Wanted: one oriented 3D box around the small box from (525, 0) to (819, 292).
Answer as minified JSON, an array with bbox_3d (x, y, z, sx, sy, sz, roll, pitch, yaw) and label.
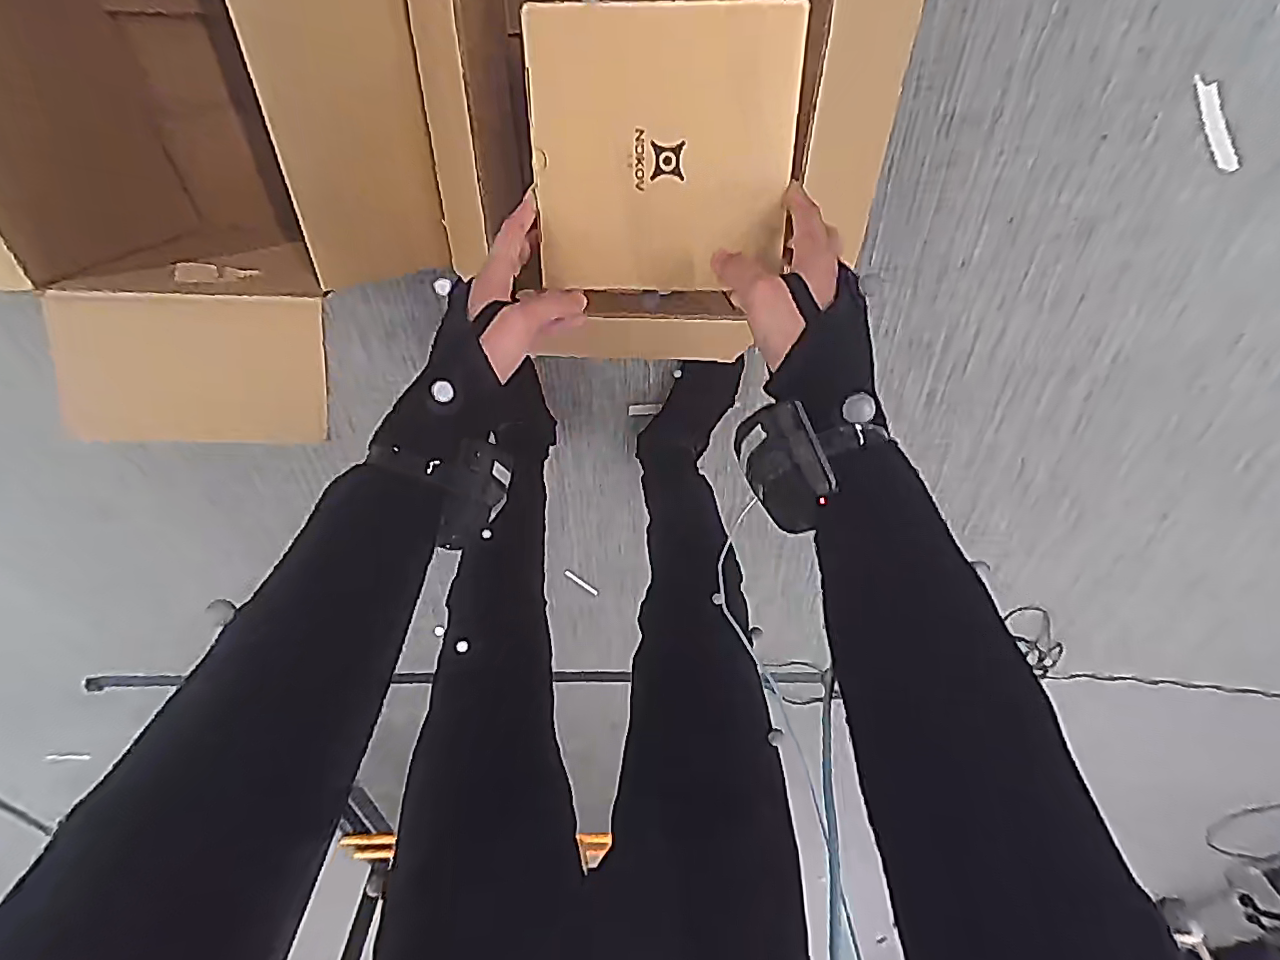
[{"bbox_3d":[0.023,-0.246,0.422,0.179,0.176,0.168,2,117,4],"label":"small box"}]
